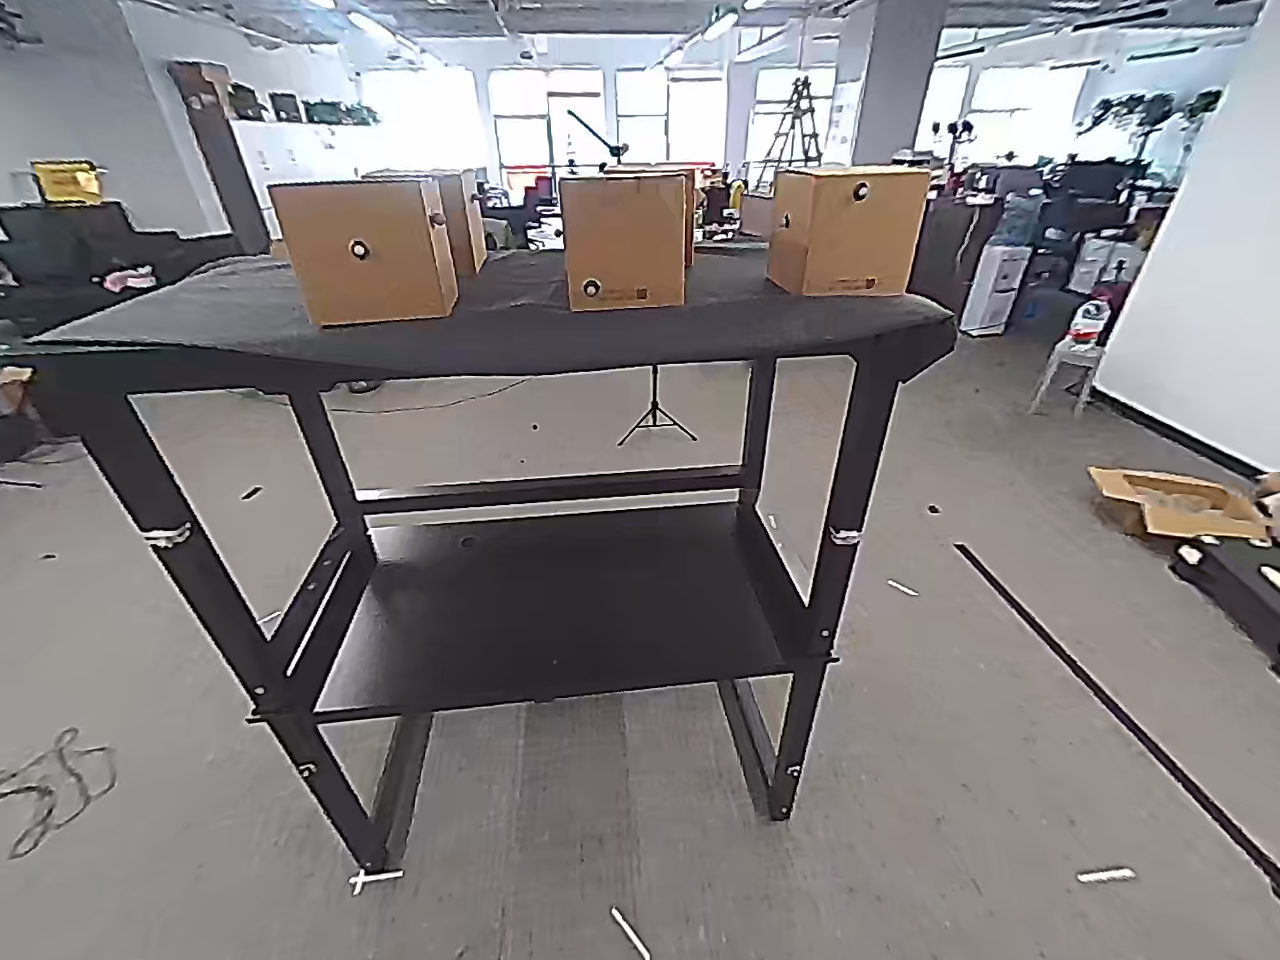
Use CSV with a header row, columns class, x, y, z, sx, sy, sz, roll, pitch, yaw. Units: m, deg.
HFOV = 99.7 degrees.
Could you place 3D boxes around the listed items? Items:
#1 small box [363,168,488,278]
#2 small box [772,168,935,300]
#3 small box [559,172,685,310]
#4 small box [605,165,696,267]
class,x,y,z,sx,sy,sz,roll,pitch,yaw
small box,-0.389,-0.483,1.017,0.168,0.176,0.179,-4,33,-6
small box,0.312,-0.381,0.835,0.168,0.176,0.179,-5,32,-4
small box,-0.026,-0.352,0.799,0.168,0.176,0.179,-4,30,-4
small box,0.020,-0.516,1.062,0.168,0.176,0.179,0,32,-1
